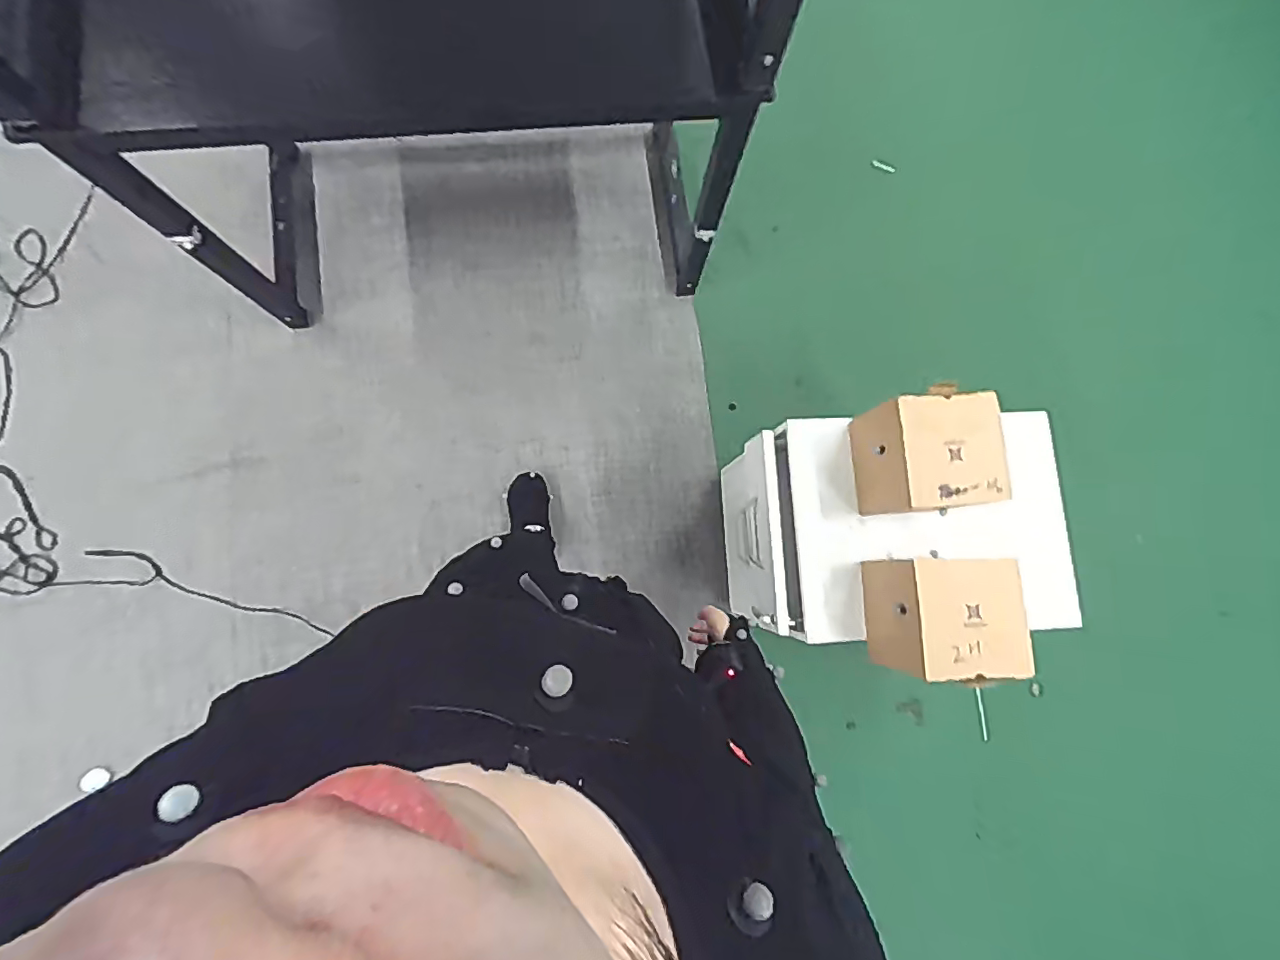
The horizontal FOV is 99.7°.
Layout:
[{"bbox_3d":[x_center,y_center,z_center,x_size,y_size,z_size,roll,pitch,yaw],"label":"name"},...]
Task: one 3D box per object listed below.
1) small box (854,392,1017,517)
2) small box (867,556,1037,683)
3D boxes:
[{"bbox_3d":[0.472,-0.035,0.892,0.168,0.176,0.179,-3,82,-5],"label":"small box"},{"bbox_3d":[0.476,0.212,0.854,0.168,0.176,0.179,0,81,-4],"label":"small box"}]
